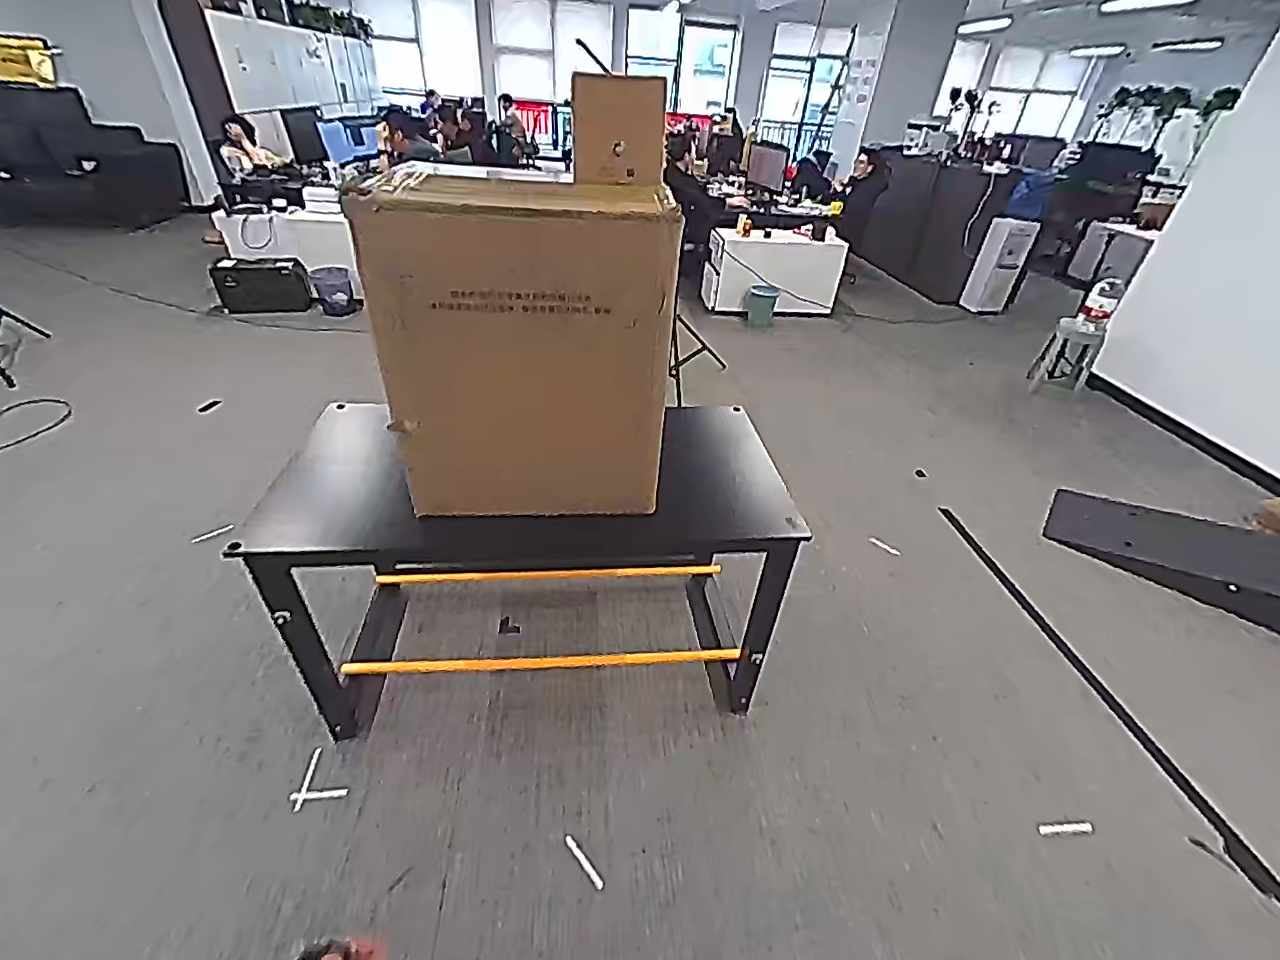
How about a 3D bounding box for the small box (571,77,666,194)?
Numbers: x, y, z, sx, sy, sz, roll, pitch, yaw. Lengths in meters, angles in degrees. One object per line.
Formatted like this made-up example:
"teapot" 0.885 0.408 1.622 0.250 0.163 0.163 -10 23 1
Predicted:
"small box" -0.048 -0.655 1.034 0.168 0.176 0.179 -2 34 -7
